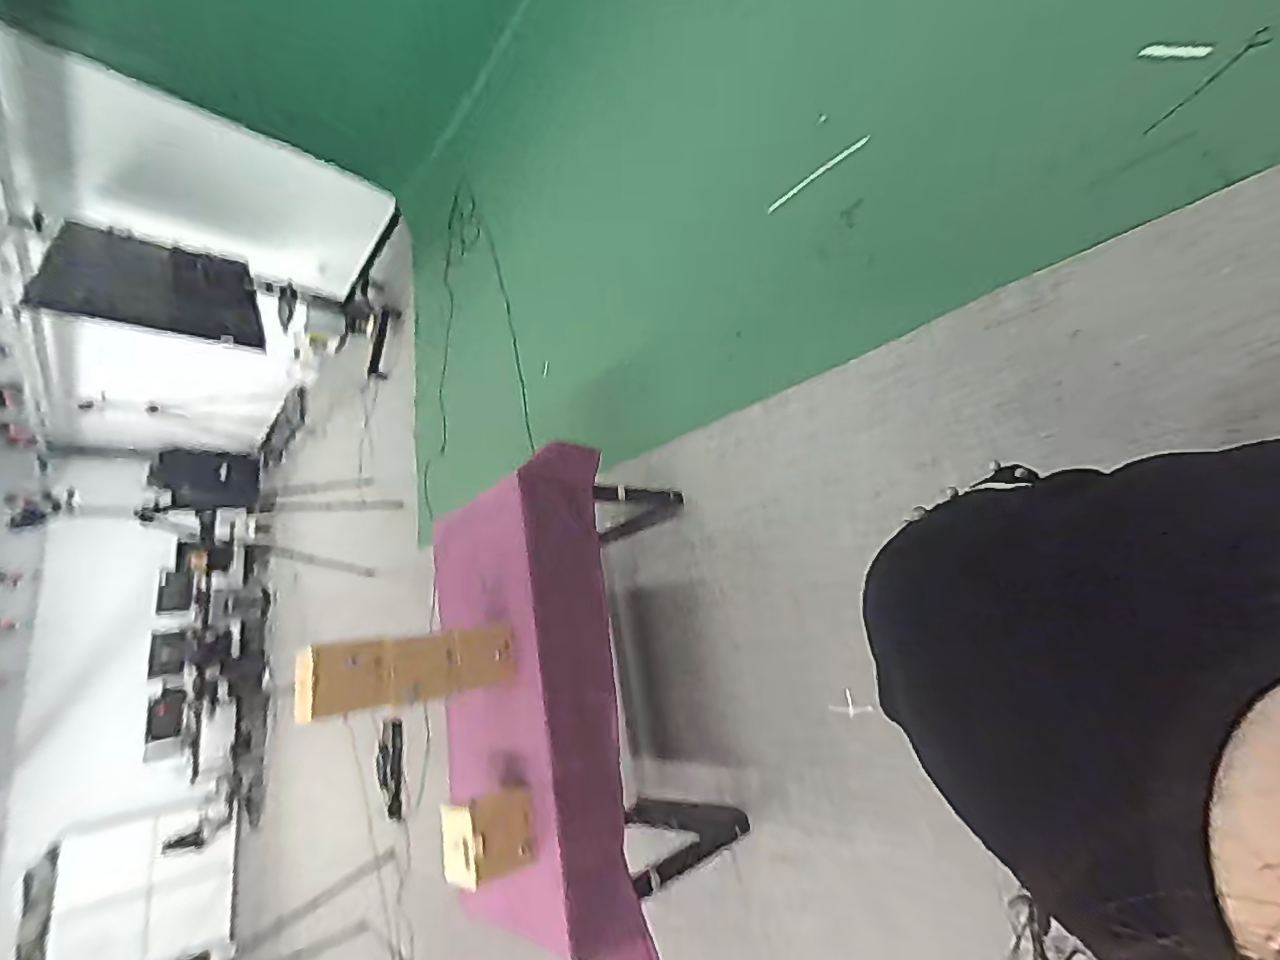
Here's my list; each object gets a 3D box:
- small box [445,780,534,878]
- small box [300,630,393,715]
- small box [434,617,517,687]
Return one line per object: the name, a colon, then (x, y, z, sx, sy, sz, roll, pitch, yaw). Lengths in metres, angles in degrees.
small box: (-0.386, 0.892, 1.402, 0.179, 0.176, 0.168, -28, 66, 43)
small box: (-0.714, 0.467, 1.318, 0.179, 0.176, 0.168, -27, 66, 43)
small box: (-0.468, 0.487, 1.535, 0.179, 0.176, 0.168, -23, 70, 43)
